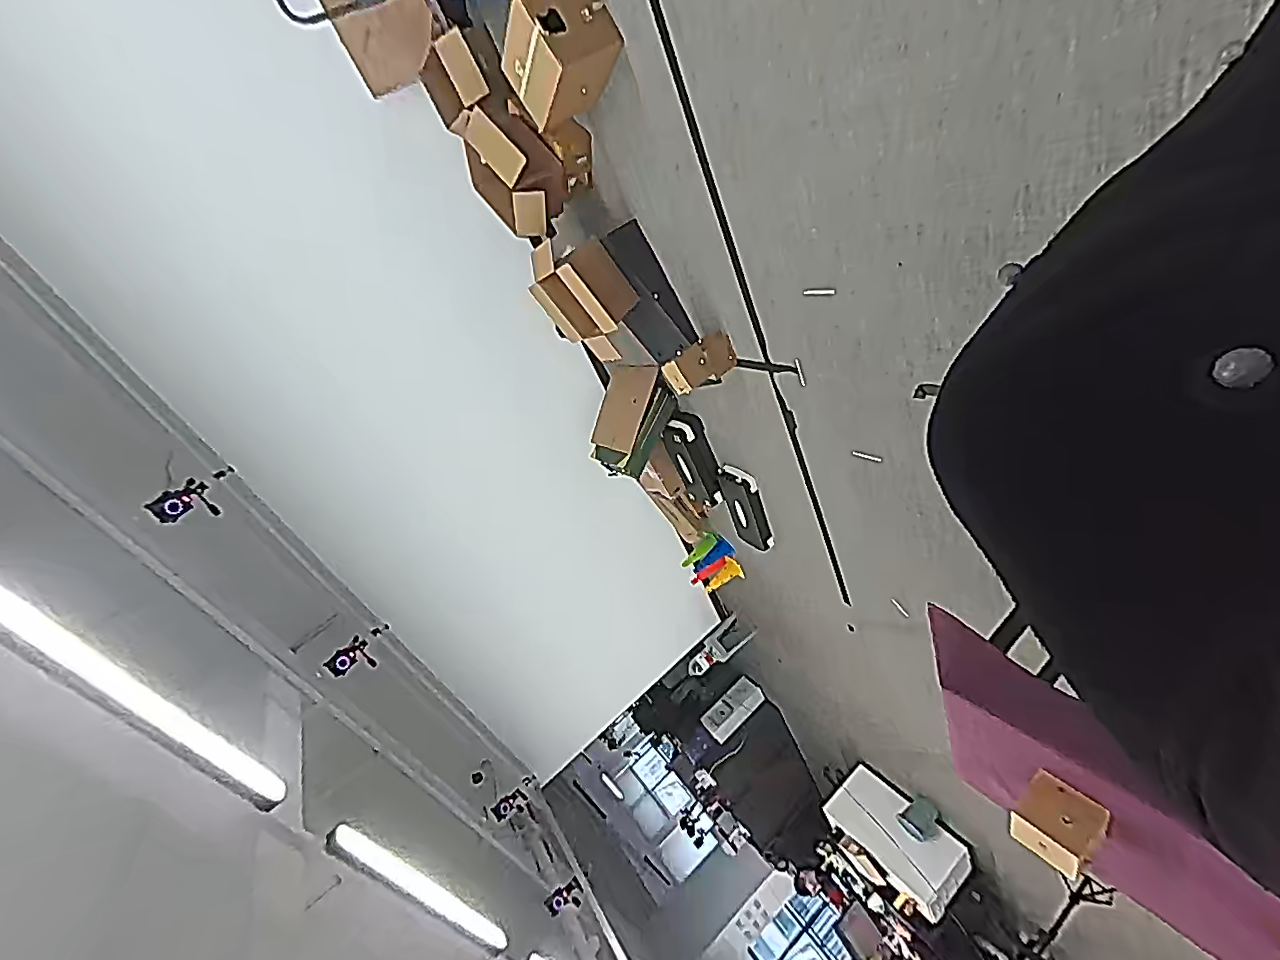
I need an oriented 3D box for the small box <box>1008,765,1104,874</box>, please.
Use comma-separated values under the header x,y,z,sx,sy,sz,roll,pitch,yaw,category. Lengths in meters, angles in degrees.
x,y,z,sx,sy,sz,roll,pitch,yaw,category
1.178,0.956,1.534,0.168,0.176,0.179,28,152,51,small box
